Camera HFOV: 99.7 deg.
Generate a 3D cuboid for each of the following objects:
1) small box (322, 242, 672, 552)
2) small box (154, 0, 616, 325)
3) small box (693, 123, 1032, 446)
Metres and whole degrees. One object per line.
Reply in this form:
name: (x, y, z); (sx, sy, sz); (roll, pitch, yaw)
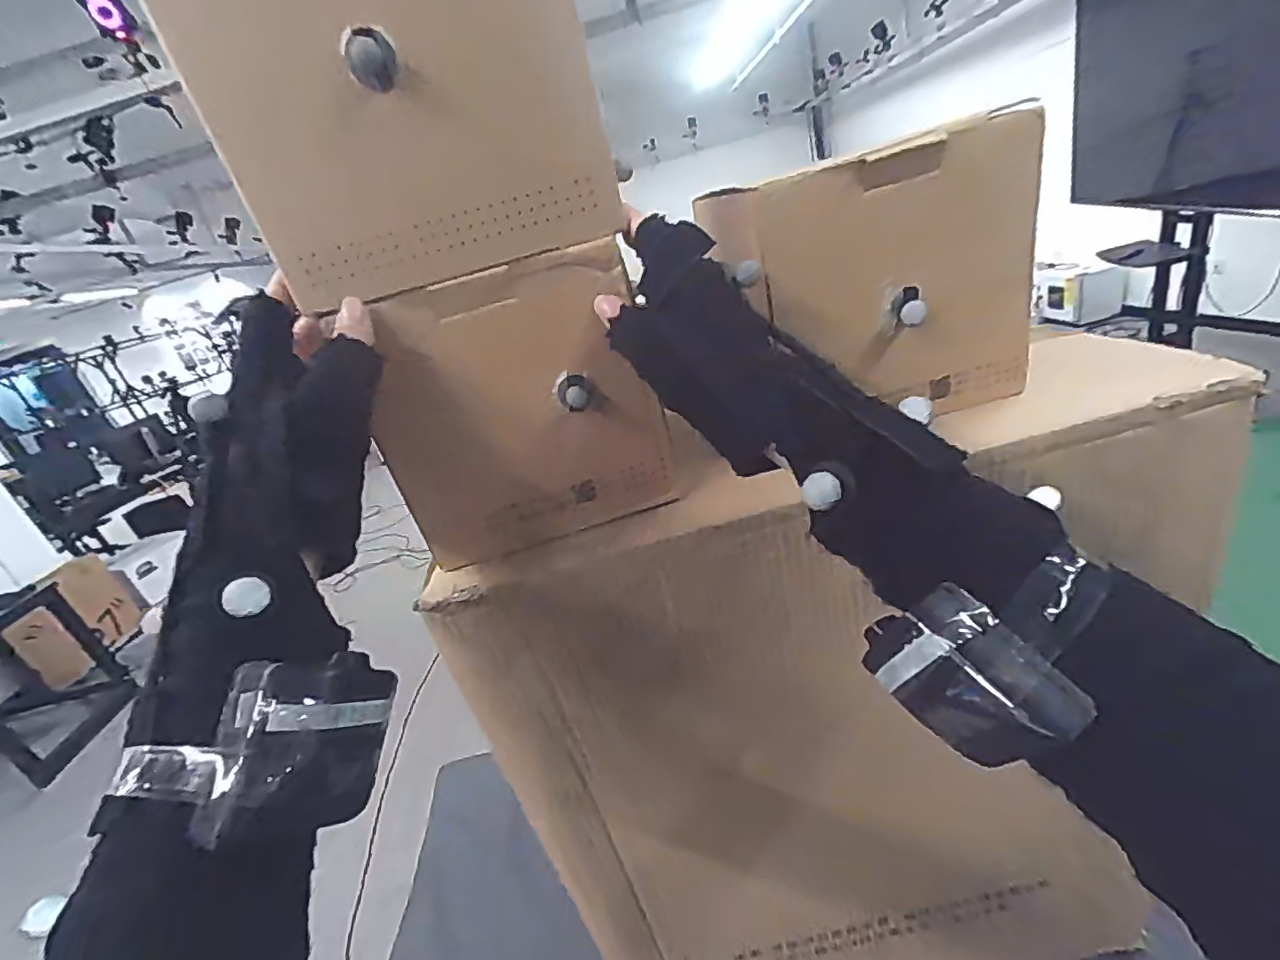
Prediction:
small box: (-0.083, -0.064, 0.395); (0.168, 0.176, 0.179); (-16, 25, -2)
small box: (-0.120, -0.204, 0.318); (0.179, 0.176, 0.168); (-17, 27, -7)
small box: (0.148, -0.138, 0.405); (0.168, 0.176, 0.179); (-14, 27, 1)
